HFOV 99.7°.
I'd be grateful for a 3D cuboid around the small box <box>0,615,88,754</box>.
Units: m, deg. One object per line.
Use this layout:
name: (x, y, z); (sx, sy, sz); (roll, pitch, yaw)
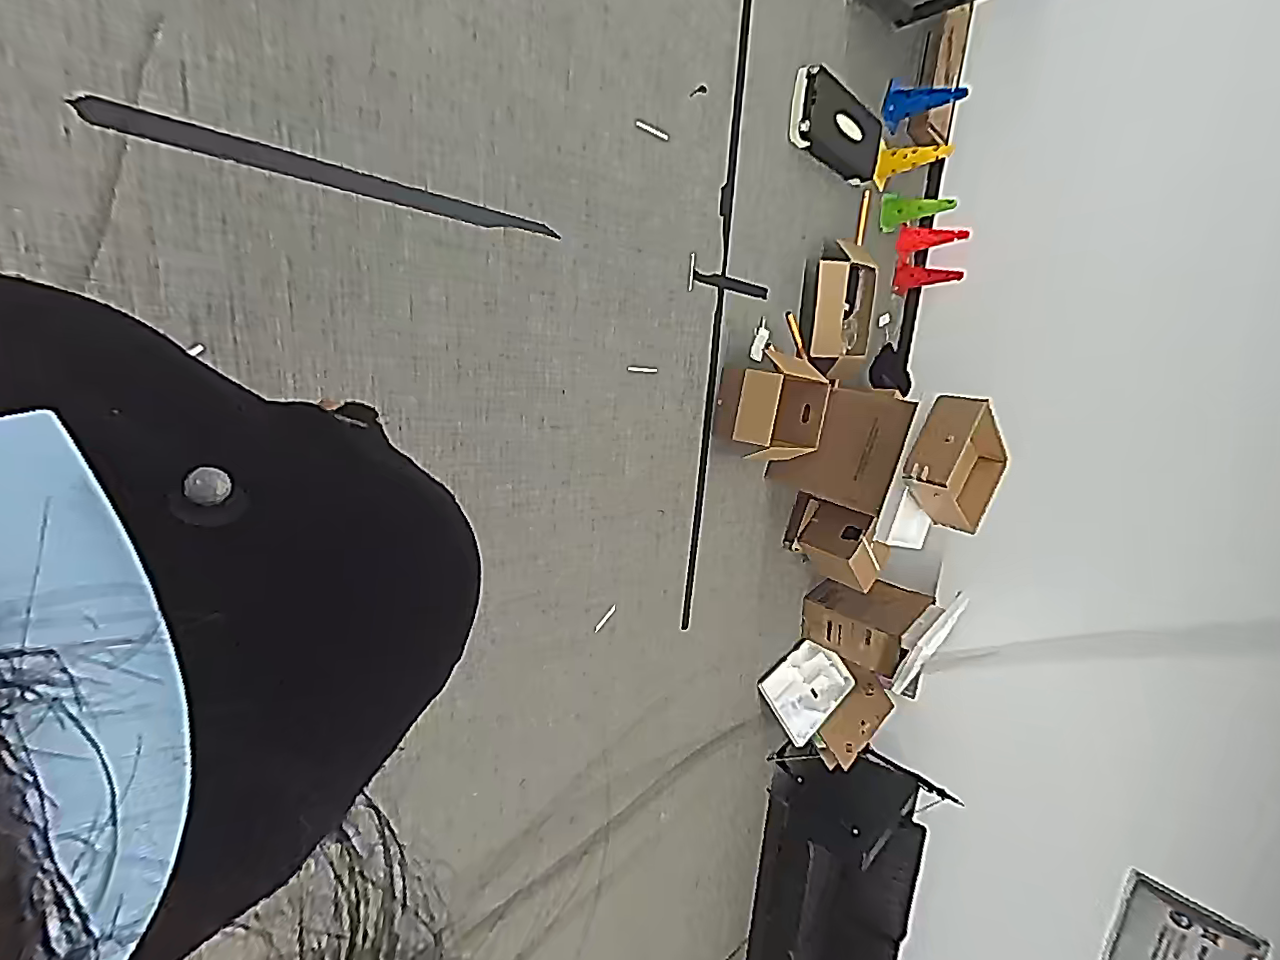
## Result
small box: (-1.172, 0.384, 1.019); (0.168, 0.176, 0.179); (-10, 109, -43)
